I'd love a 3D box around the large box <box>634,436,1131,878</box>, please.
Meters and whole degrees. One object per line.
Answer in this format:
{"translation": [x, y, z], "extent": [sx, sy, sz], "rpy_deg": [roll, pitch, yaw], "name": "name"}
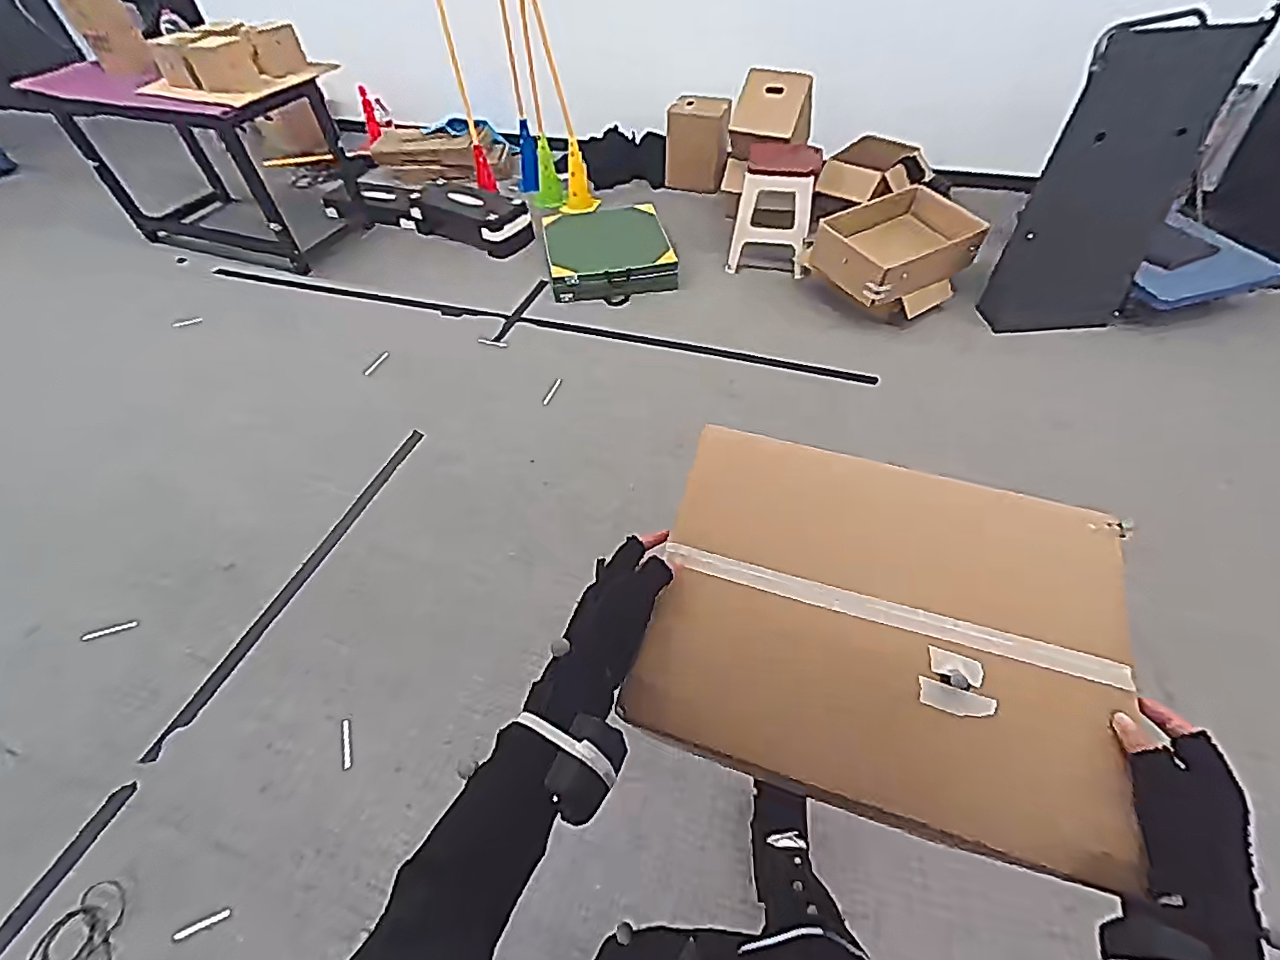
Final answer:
{"translation": [0.234, 0.193, 0.637], "extent": [0.408, 0.320, 0.320], "rpy_deg": [15, 65, 12], "name": "large box"}
